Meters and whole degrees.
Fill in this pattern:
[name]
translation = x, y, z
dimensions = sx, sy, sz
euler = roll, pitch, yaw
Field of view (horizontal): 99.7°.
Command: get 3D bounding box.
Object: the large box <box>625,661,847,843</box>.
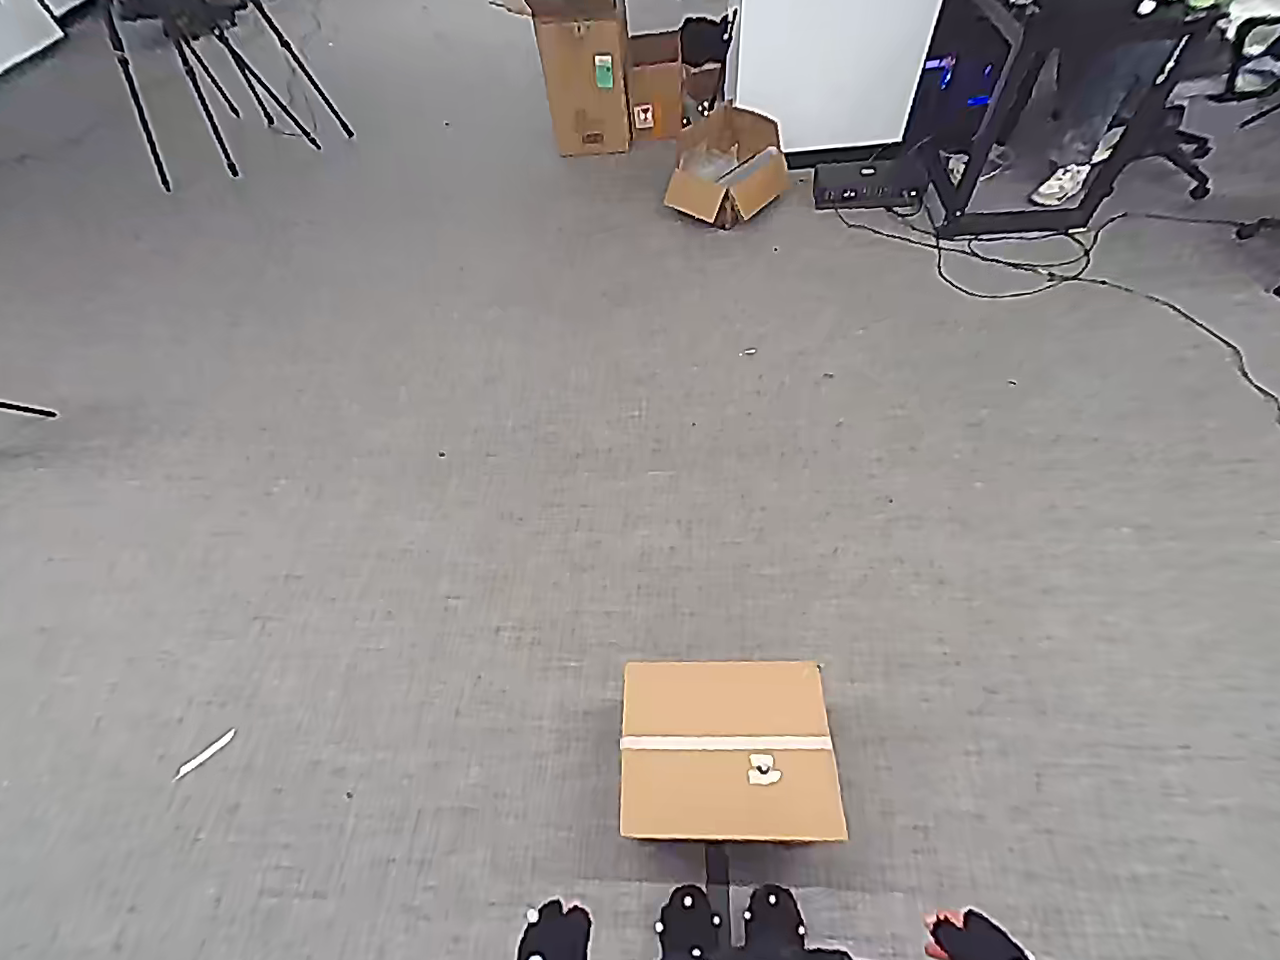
[large box]
translation = 0.178, 0.594, 1.169
dimensions = 0.408, 0.320, 0.320
euler = -2, 56, 4
